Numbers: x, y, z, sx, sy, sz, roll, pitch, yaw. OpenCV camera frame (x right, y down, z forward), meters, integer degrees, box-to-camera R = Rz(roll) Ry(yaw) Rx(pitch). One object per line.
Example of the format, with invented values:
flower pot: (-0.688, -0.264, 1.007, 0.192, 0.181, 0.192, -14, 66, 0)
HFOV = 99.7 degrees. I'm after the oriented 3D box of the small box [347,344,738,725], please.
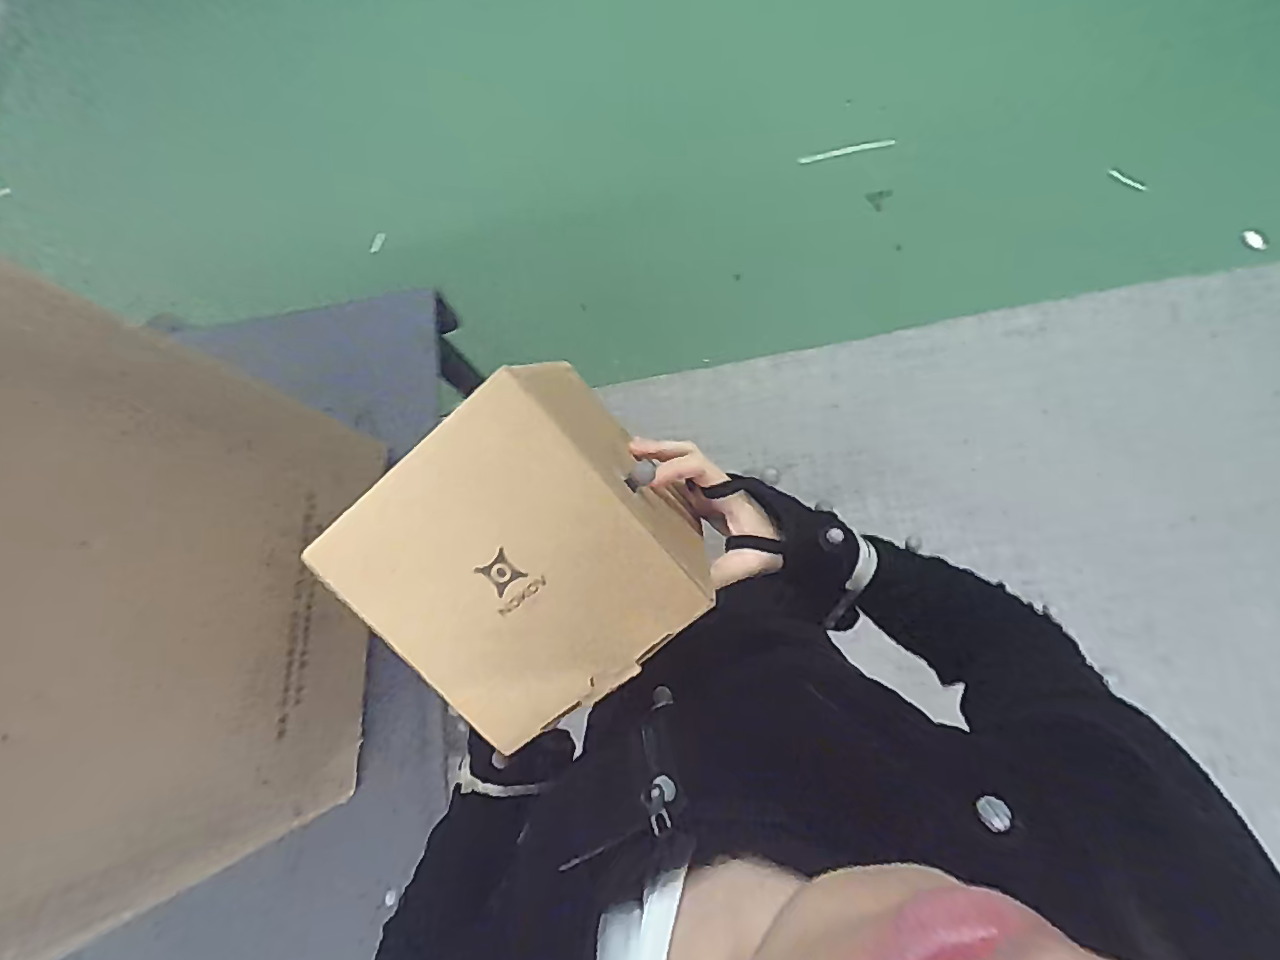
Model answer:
small box: (-0.055, 0.025, 0.393, 0.168, 0.176, 0.179, -38, 97, 9)
